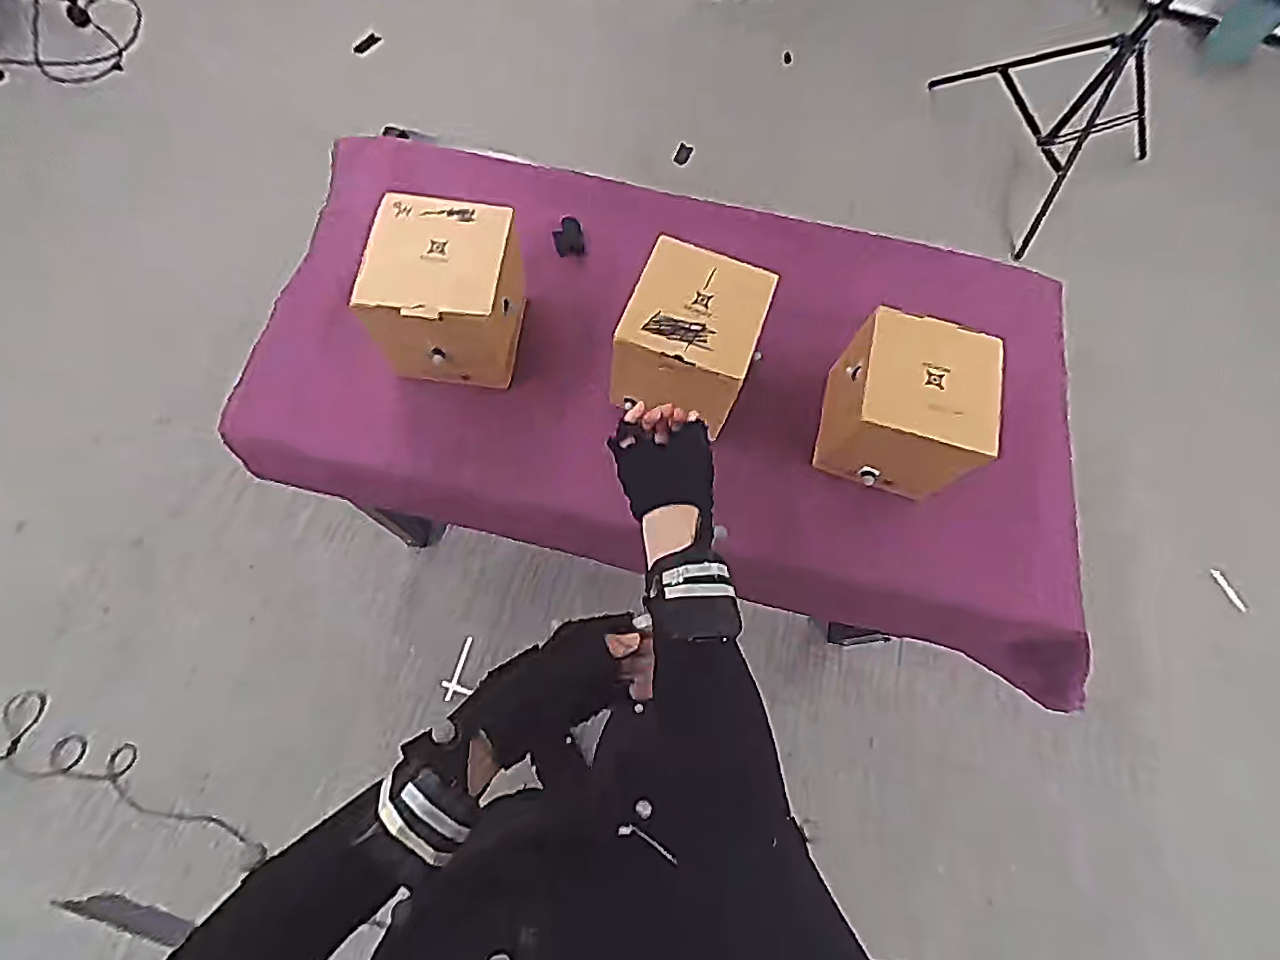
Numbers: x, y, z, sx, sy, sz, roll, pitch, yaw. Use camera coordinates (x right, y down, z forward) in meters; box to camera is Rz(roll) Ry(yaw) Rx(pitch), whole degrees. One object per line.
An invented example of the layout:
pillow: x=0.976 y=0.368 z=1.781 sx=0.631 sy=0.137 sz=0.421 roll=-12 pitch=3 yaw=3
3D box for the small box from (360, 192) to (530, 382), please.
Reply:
small box: x=-0.250 y=-0.254 z=0.744 sx=0.168 sy=0.176 sz=0.179 roll=6 pitch=70 yaw=-3

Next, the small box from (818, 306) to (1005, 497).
small box: x=0.361 y=-0.099 z=0.741 sx=0.168 sy=0.176 sz=0.179 roll=16 pitch=70 yaw=3

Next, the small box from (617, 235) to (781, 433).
small box: x=0.073 y=-0.191 z=0.749 sx=0.168 sy=0.176 sz=0.179 roll=21 pitch=68 yaw=3
